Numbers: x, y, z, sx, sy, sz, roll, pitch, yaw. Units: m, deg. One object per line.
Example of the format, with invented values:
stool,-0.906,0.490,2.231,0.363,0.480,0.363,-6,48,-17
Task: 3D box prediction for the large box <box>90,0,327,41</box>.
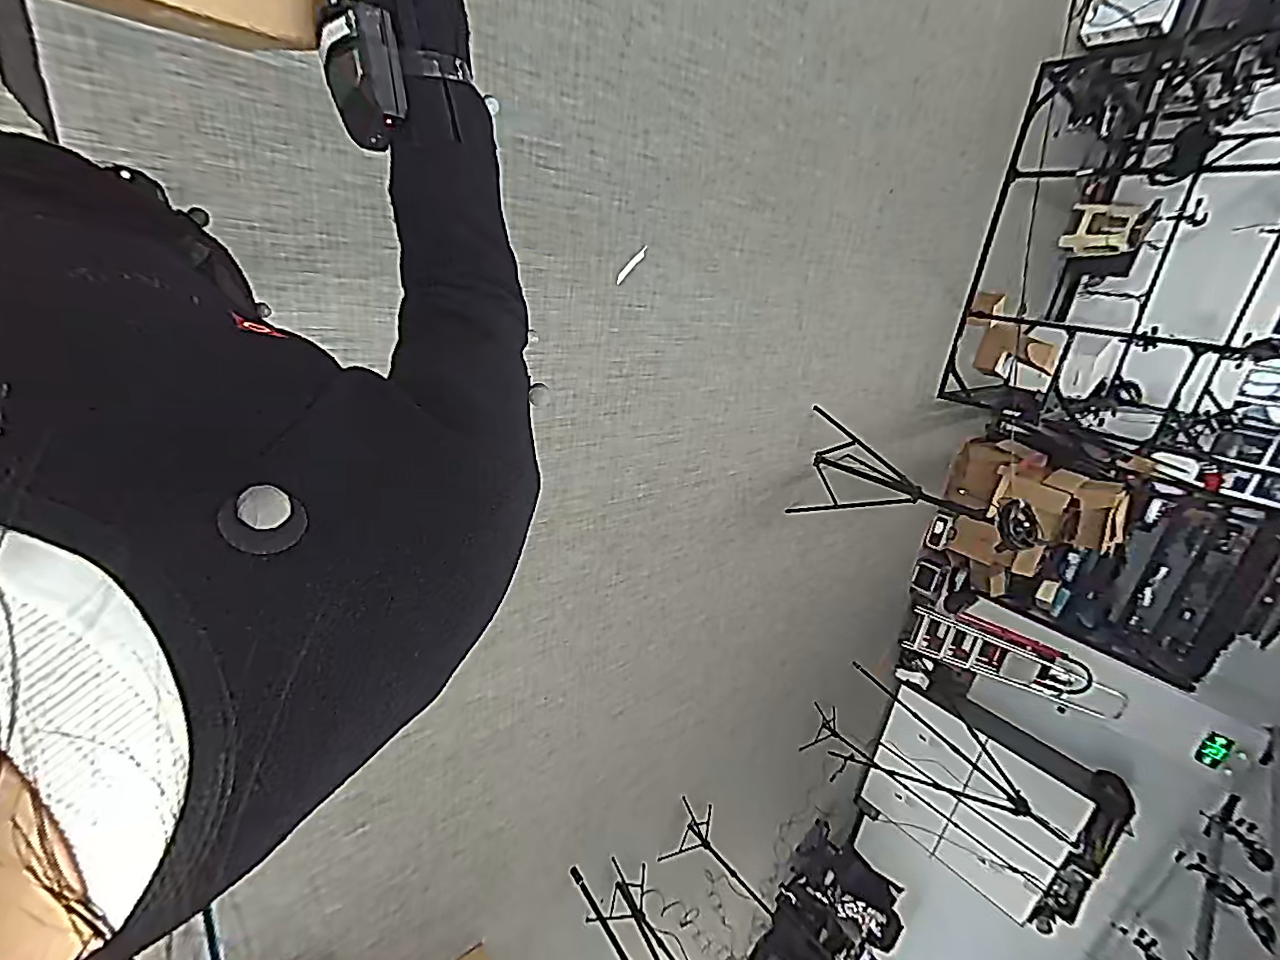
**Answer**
large box,-0.418,-0.457,0.250,0.408,0.320,0.320,-12,129,-39
